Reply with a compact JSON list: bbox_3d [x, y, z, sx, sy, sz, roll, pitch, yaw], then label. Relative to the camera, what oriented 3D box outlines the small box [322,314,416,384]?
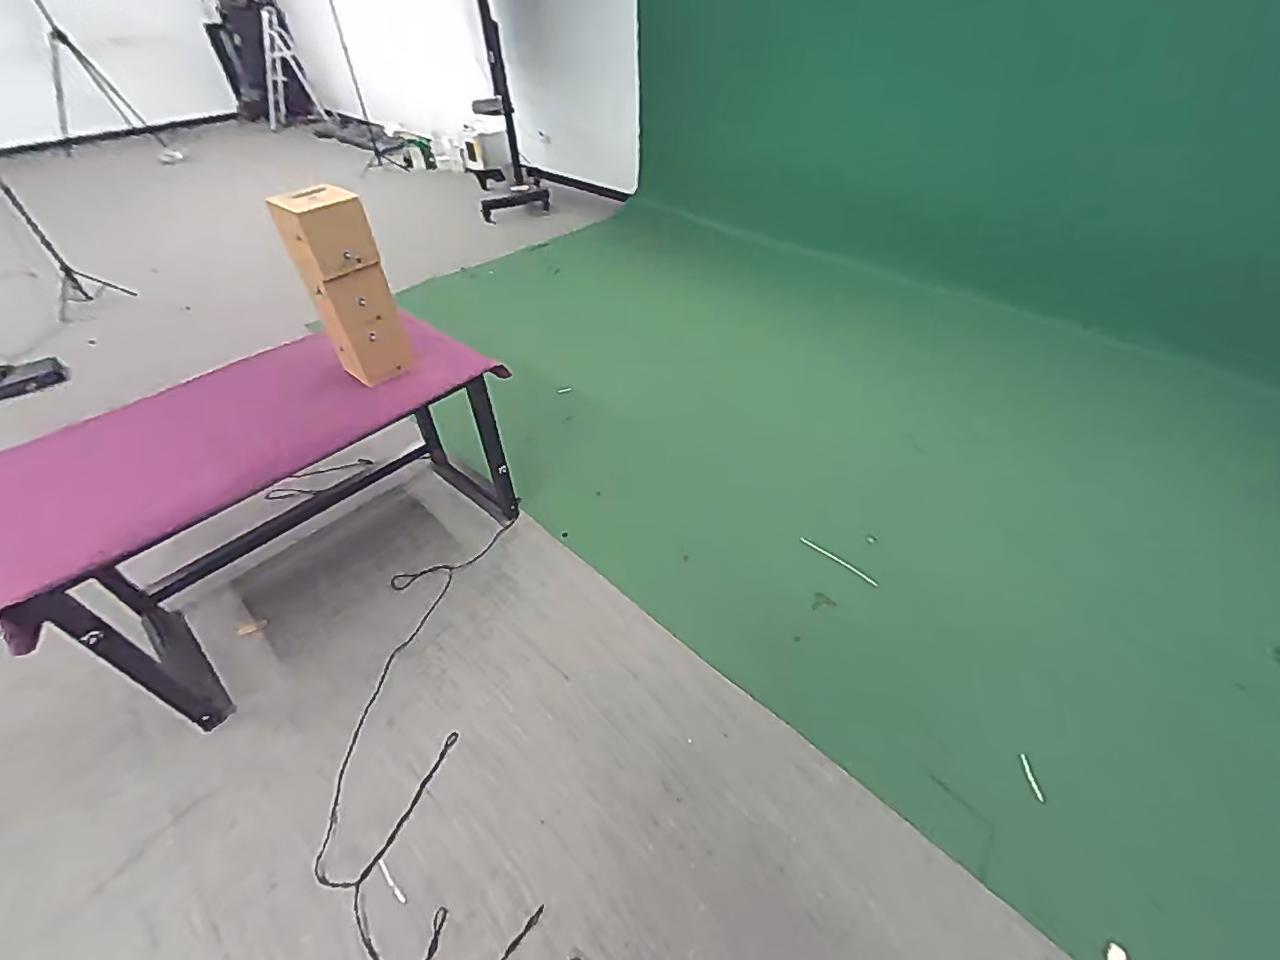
[{"bbox_3d":[-0.818,-0.414,1.643,0.179,0.176,0.168,30,54,30],"label":"small box"}]

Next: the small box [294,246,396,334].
[{"bbox_3d":[-0.826,-0.534,1.528,0.179,0.176,0.168,32,53,31],"label":"small box"}]
